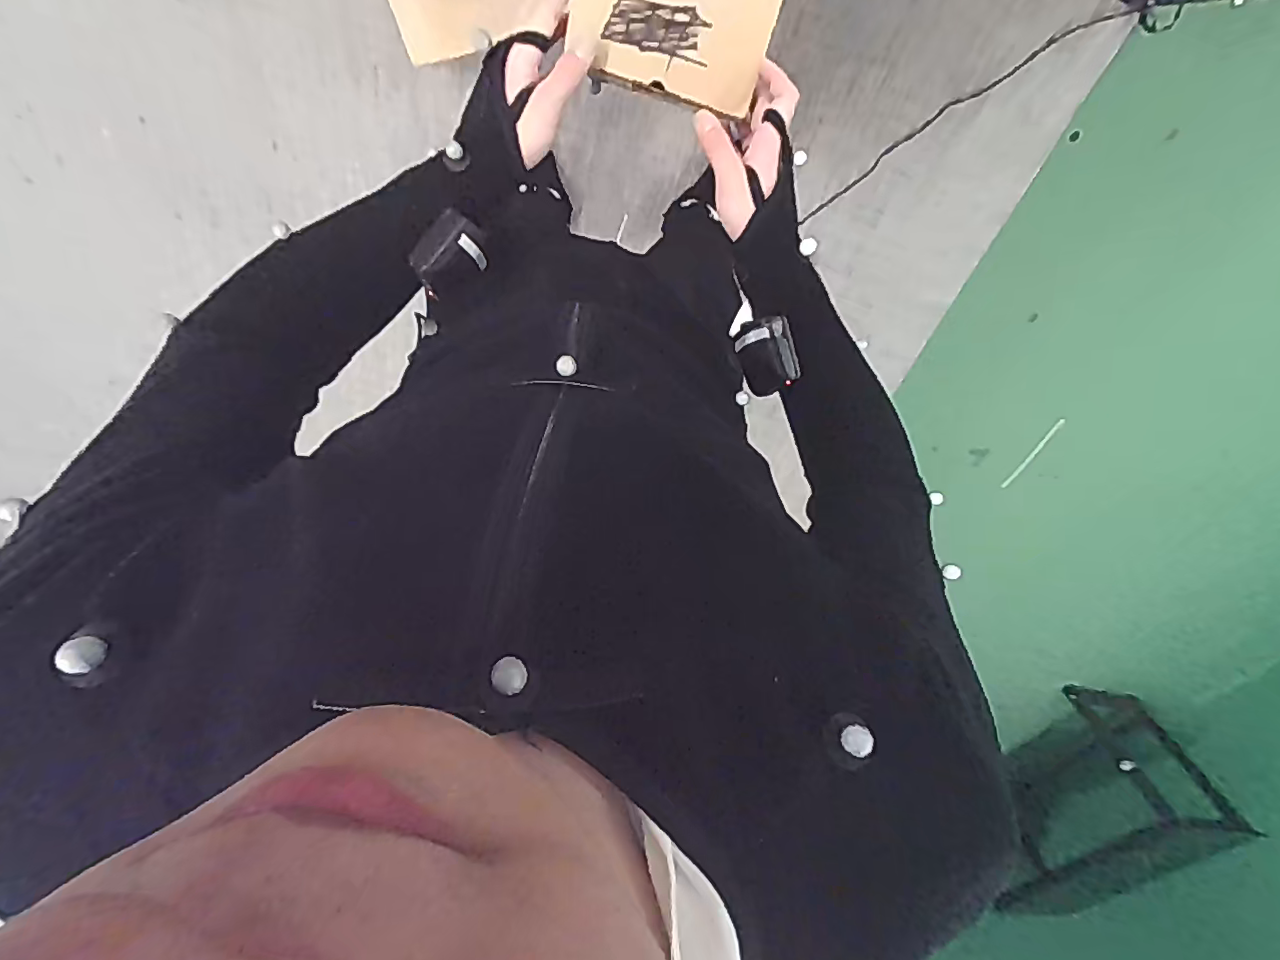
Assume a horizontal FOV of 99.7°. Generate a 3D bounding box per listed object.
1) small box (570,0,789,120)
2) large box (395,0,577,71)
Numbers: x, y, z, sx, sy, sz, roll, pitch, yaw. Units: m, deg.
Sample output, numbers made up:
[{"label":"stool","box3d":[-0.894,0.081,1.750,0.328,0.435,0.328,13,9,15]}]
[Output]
[{"label":"small box","box3d":[0.037,-0.449,0.483,0.168,0.176,0.179,10,122,-13]},{"label":"large box","box3d":[-0.235,-0.961,0.952,0.408,0.320,0.320,-13,128,3]}]
